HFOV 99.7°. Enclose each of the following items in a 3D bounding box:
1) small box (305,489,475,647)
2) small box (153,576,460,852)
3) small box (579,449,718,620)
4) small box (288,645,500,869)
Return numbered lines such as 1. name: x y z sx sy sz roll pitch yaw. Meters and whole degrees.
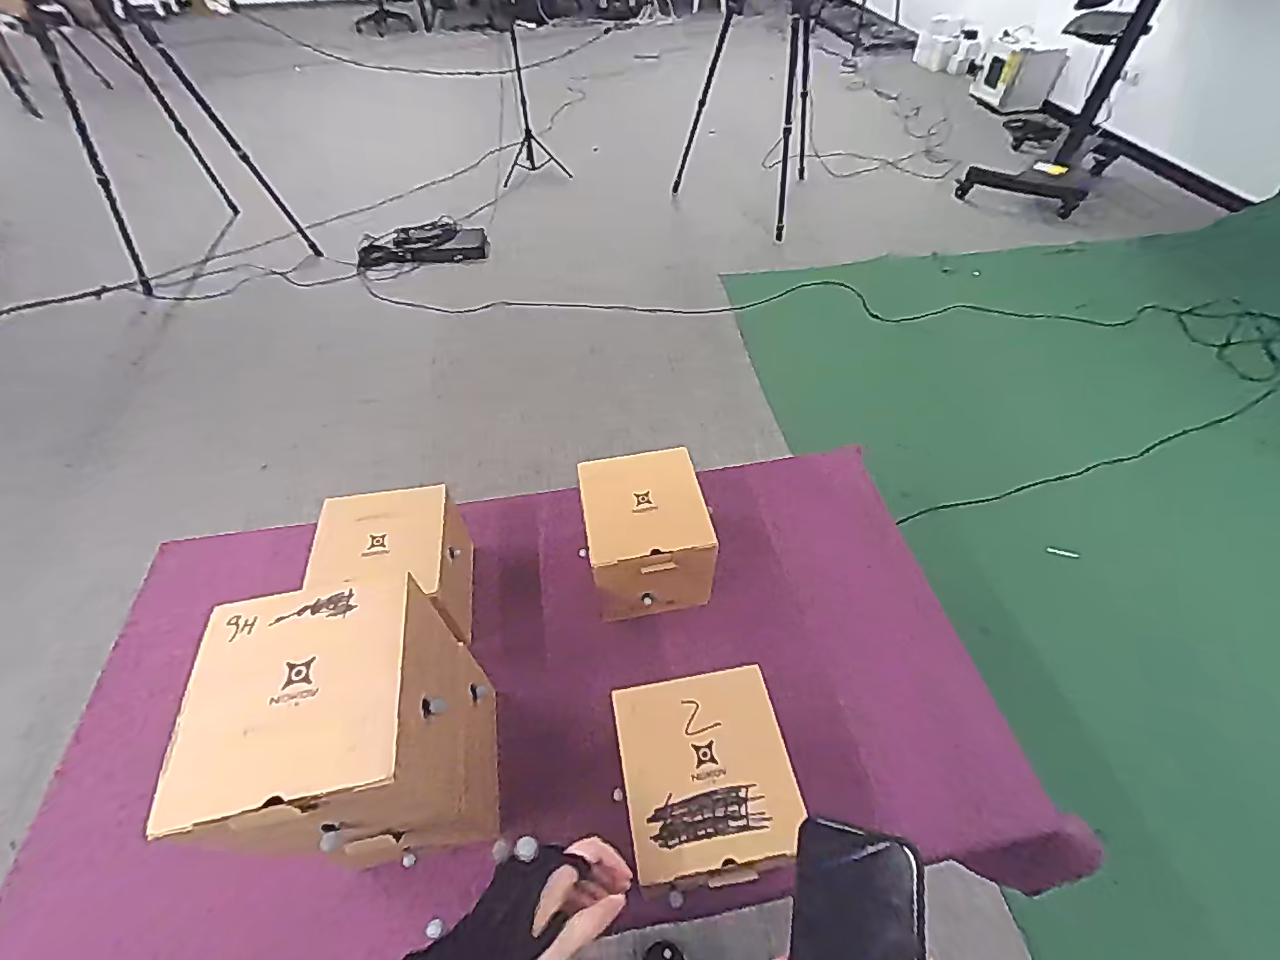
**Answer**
1. small box: -0.337 0.139 0.764 0.168 0.176 0.179 -7 51 -6
2. small box: -0.266 0.215 0.487 0.168 0.176 0.179 -10 52 -7
3. small box: 0.006 0.081 0.802 0.168 0.176 0.179 -10 52 -6
4. small box: -0.260 0.316 0.616 0.168 0.176 0.179 -10 51 -6
